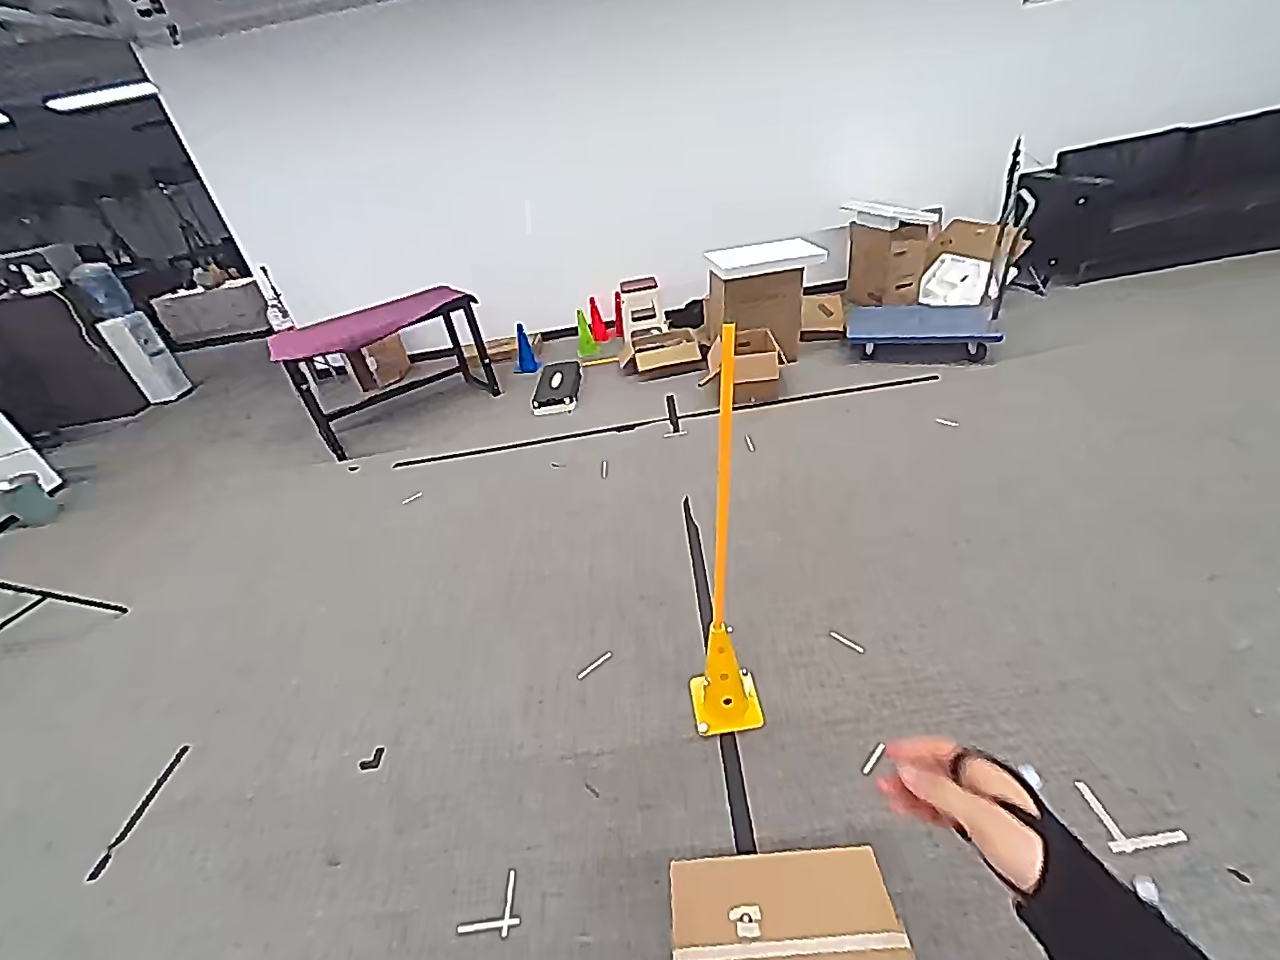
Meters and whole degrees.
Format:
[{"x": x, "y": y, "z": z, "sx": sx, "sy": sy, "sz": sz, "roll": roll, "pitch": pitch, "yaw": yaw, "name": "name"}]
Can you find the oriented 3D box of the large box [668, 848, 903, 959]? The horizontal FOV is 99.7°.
[{"x": 0.279, "y": 0.965, "z": 1.033, "sx": 0.408, "sy": 0.320, "sz": 0.320, "roll": -8, "pitch": 30, "yaw": 3, "name": "large box"}]
